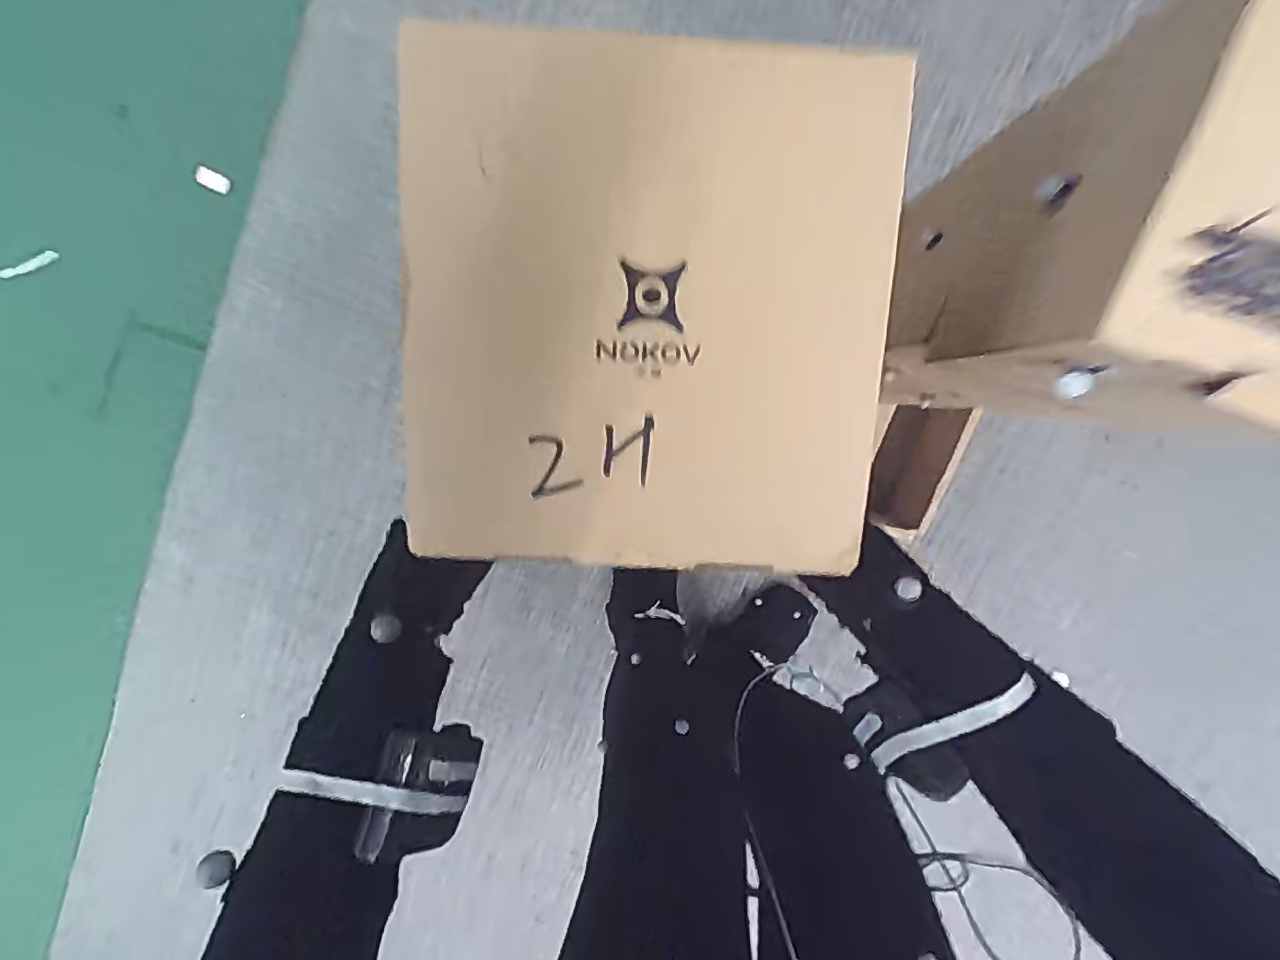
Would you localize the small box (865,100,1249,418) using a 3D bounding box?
[{"bbox_3d":[0.320,-0.166,0.465,0.168,0.176,0.179,21,99,-1],"label":"small box"}]

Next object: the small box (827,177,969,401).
[{"bbox_3d":[0.332,-0.195,0.609,0.168,0.176,0.179,21,99,0],"label":"small box"}]
